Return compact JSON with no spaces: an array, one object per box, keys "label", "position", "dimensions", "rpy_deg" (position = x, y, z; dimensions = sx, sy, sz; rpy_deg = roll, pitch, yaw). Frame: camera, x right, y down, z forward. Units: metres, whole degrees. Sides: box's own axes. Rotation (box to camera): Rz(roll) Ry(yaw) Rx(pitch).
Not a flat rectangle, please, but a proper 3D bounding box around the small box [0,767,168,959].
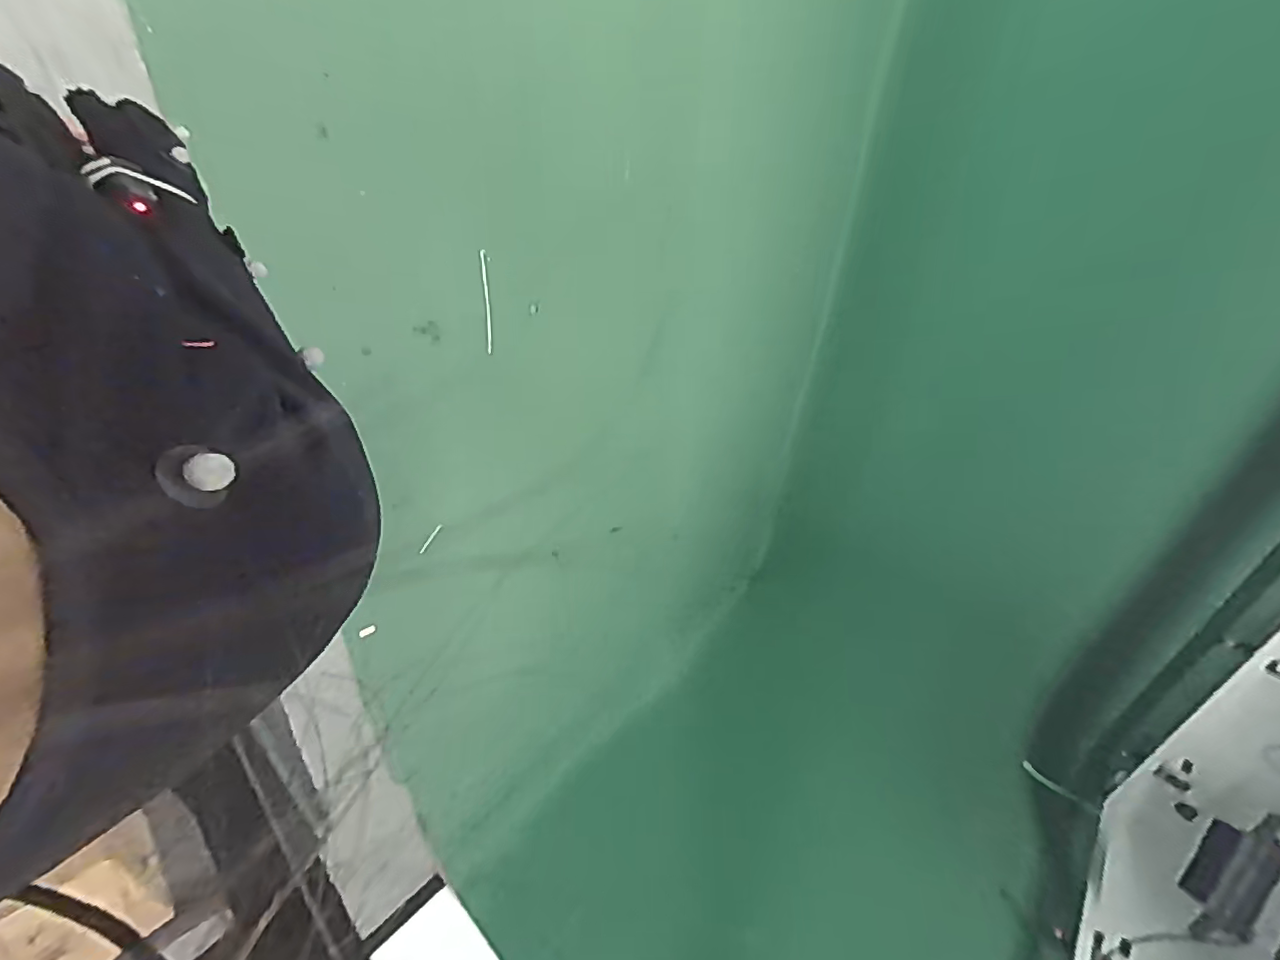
[{"label":"small box","position":[-0.716,0.489,0.645],"dimensions":[0.168,0.176,0.179],"rpy_deg":[-30,136,-39]}]
